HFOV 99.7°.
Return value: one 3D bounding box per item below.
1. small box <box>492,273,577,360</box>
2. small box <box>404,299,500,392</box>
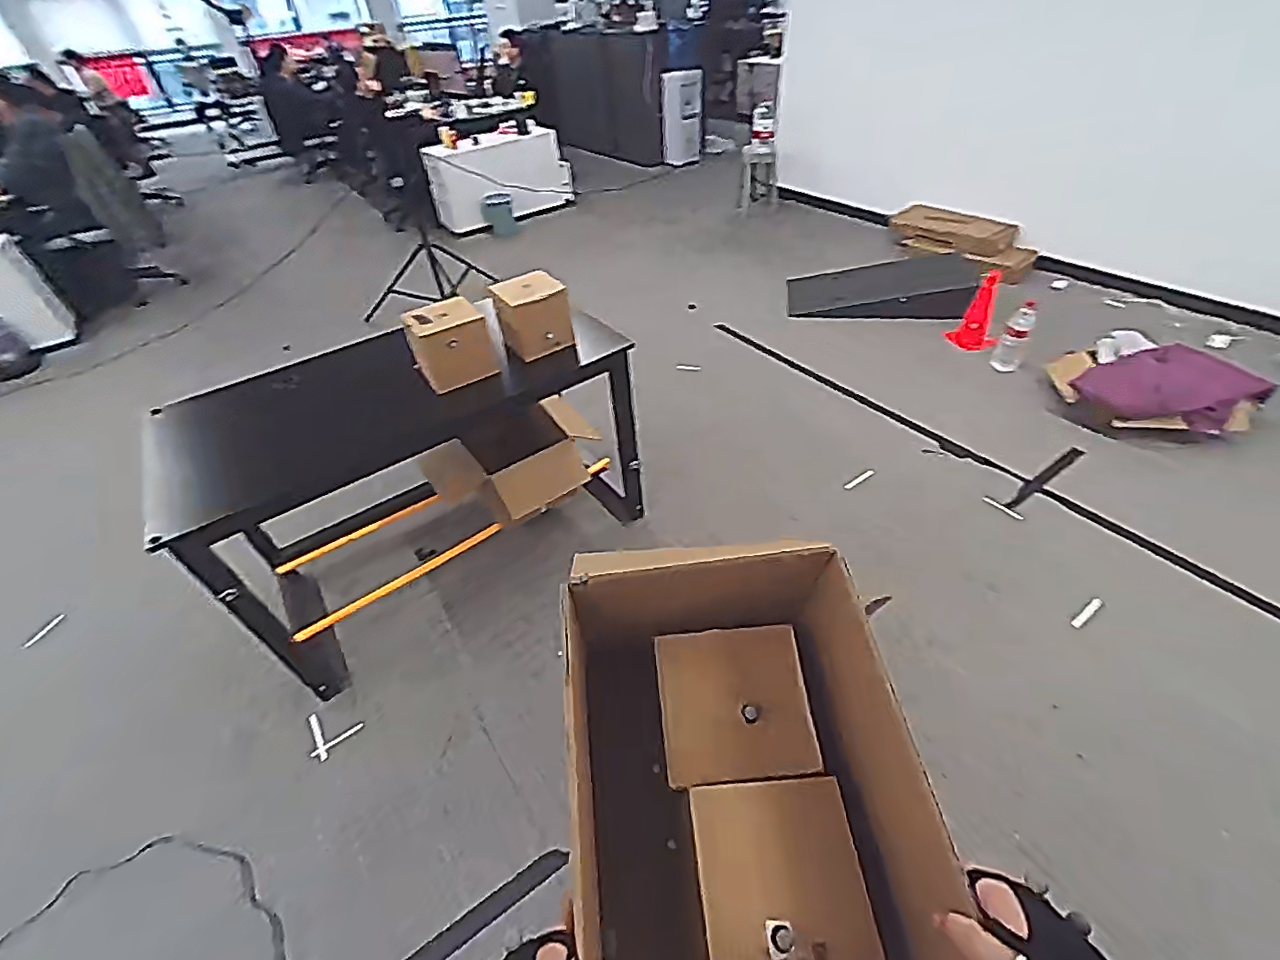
[{"bbox_3d":[-0.299,-0.467,1.545,0.168,0.176,0.179,-27,47,-21],"label":"small box"},{"bbox_3d":[-0.502,-0.361,1.455,0.179,0.176,0.168,-26,47,-22],"label":"small box"}]
